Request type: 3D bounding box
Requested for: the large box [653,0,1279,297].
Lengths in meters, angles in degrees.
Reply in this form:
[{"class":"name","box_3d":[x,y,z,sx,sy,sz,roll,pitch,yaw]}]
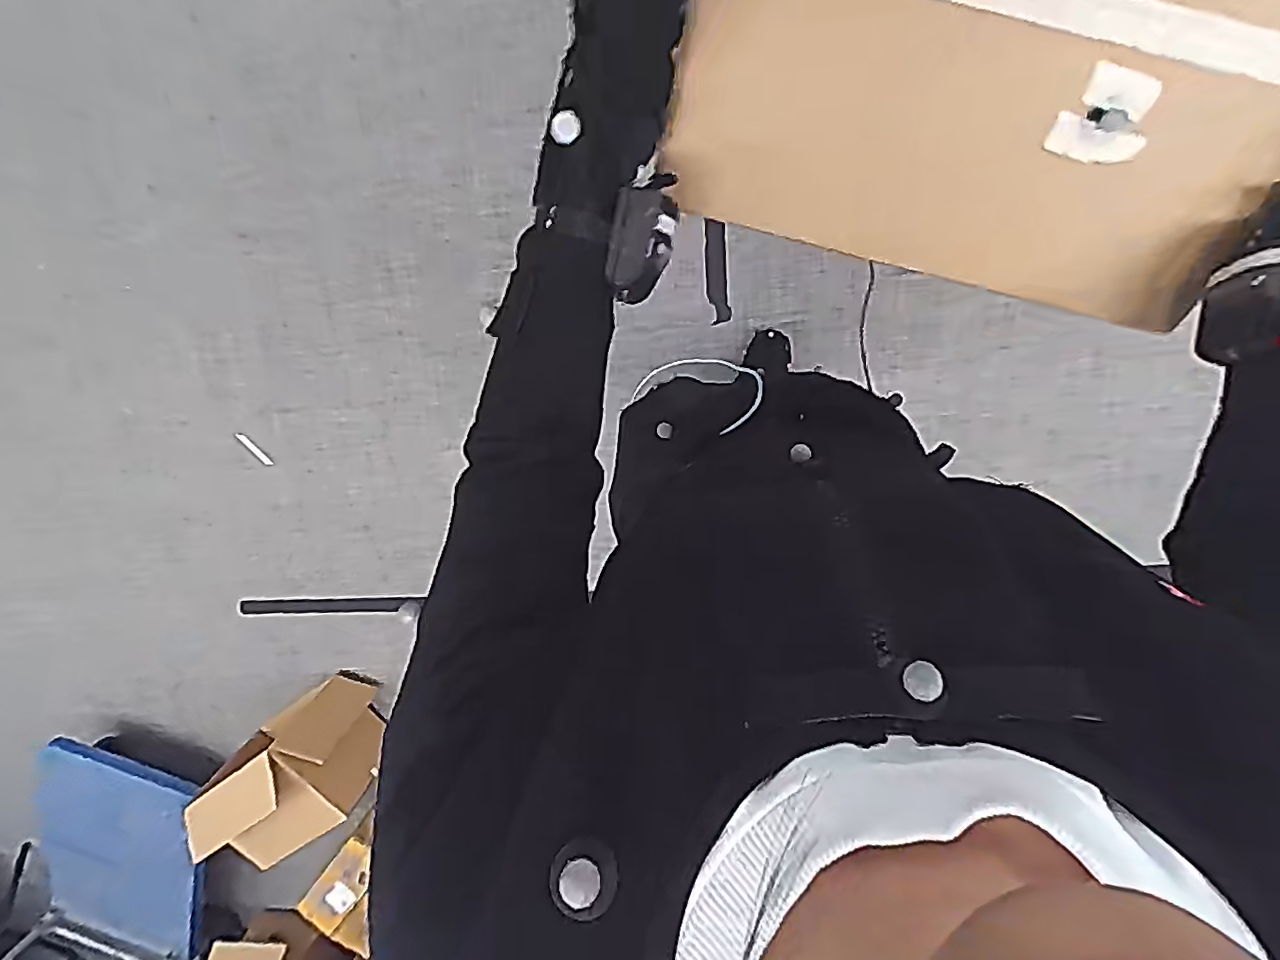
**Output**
[{"class":"large box","box_3d":[0.239,-0.381,0.445,0.408,0.320,0.320,12,126,-1]}]
